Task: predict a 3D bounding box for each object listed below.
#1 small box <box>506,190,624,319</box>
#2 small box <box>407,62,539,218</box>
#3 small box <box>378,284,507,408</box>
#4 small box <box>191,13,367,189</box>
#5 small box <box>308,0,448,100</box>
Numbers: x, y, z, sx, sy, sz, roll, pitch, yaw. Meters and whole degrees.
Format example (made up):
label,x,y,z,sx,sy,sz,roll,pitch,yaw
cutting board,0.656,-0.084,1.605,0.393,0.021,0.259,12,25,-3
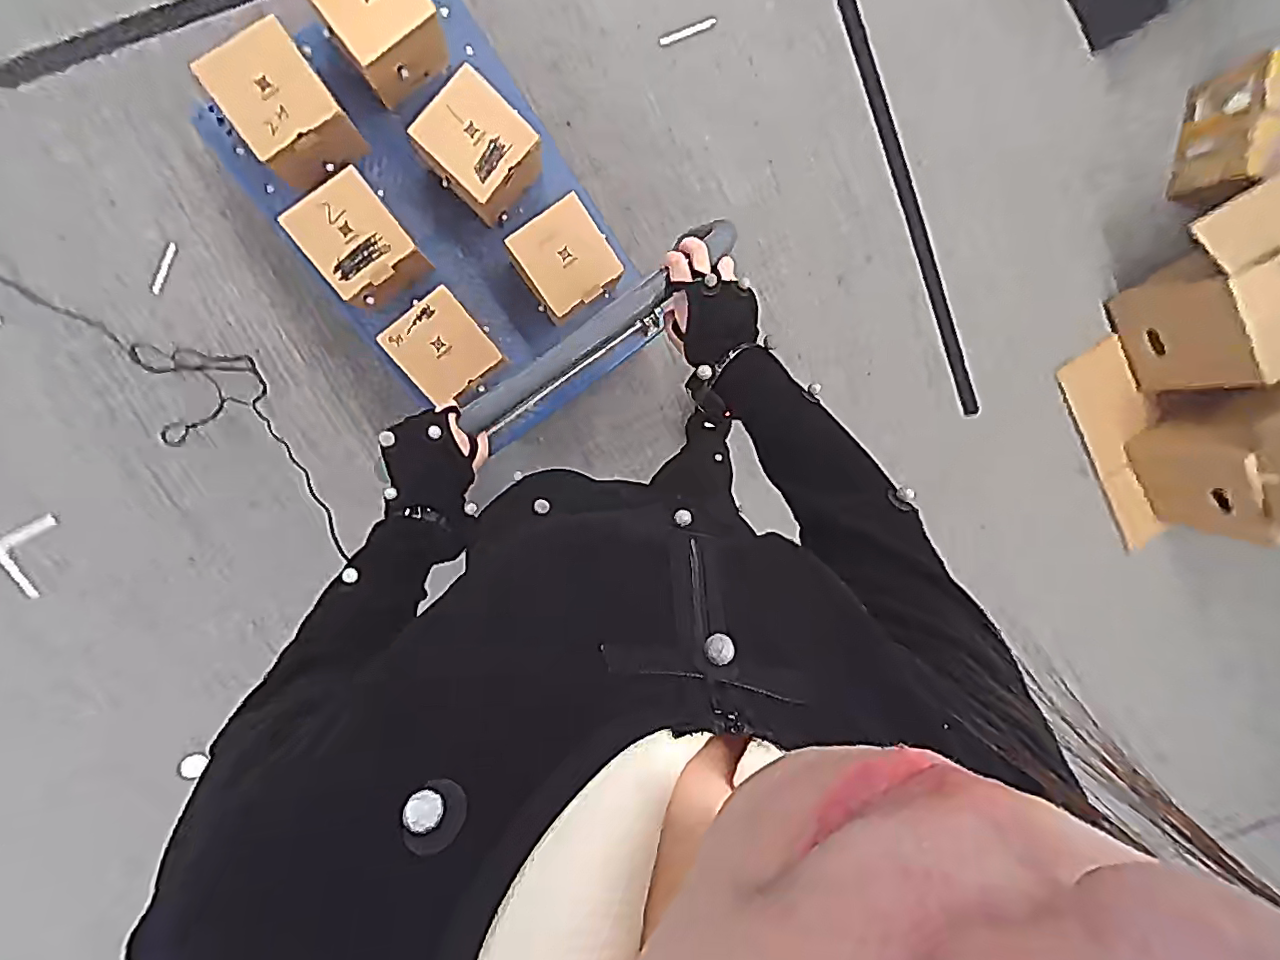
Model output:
label,x,y,z,sx,sy,sz,roll,pitch,yaw
small box,-0.154,-0.452,1.120,0.168,0.176,0.179,-36,103,-3
small box,-0.312,-0.645,1.060,0.179,0.176,0.168,42,91,-13
small box,-0.390,-0.269,1.110,0.168,0.176,0.179,-40,104,-2
small box,-0.647,-0.681,0.995,0.168,0.176,0.179,-35,104,-2
small box,-0.482,-0.849,0.997,0.168,0.176,0.179,-40,103,-1
